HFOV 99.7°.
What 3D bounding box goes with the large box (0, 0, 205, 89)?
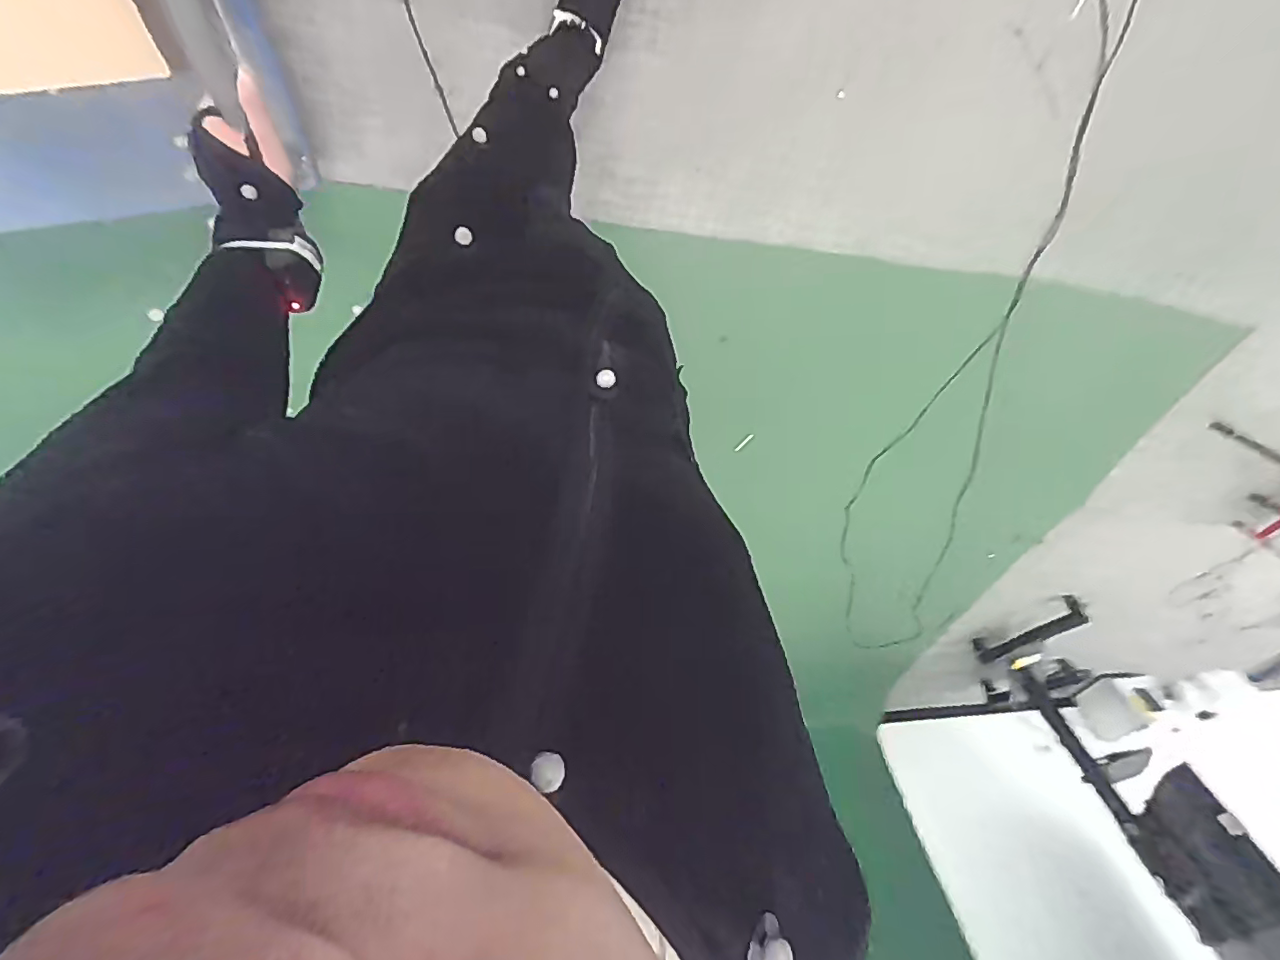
[{"bbox_3d":[-0.883,-0.707,0.686,0.408,0.320,0.320,-18,135,-14],"label":"large box"}]
